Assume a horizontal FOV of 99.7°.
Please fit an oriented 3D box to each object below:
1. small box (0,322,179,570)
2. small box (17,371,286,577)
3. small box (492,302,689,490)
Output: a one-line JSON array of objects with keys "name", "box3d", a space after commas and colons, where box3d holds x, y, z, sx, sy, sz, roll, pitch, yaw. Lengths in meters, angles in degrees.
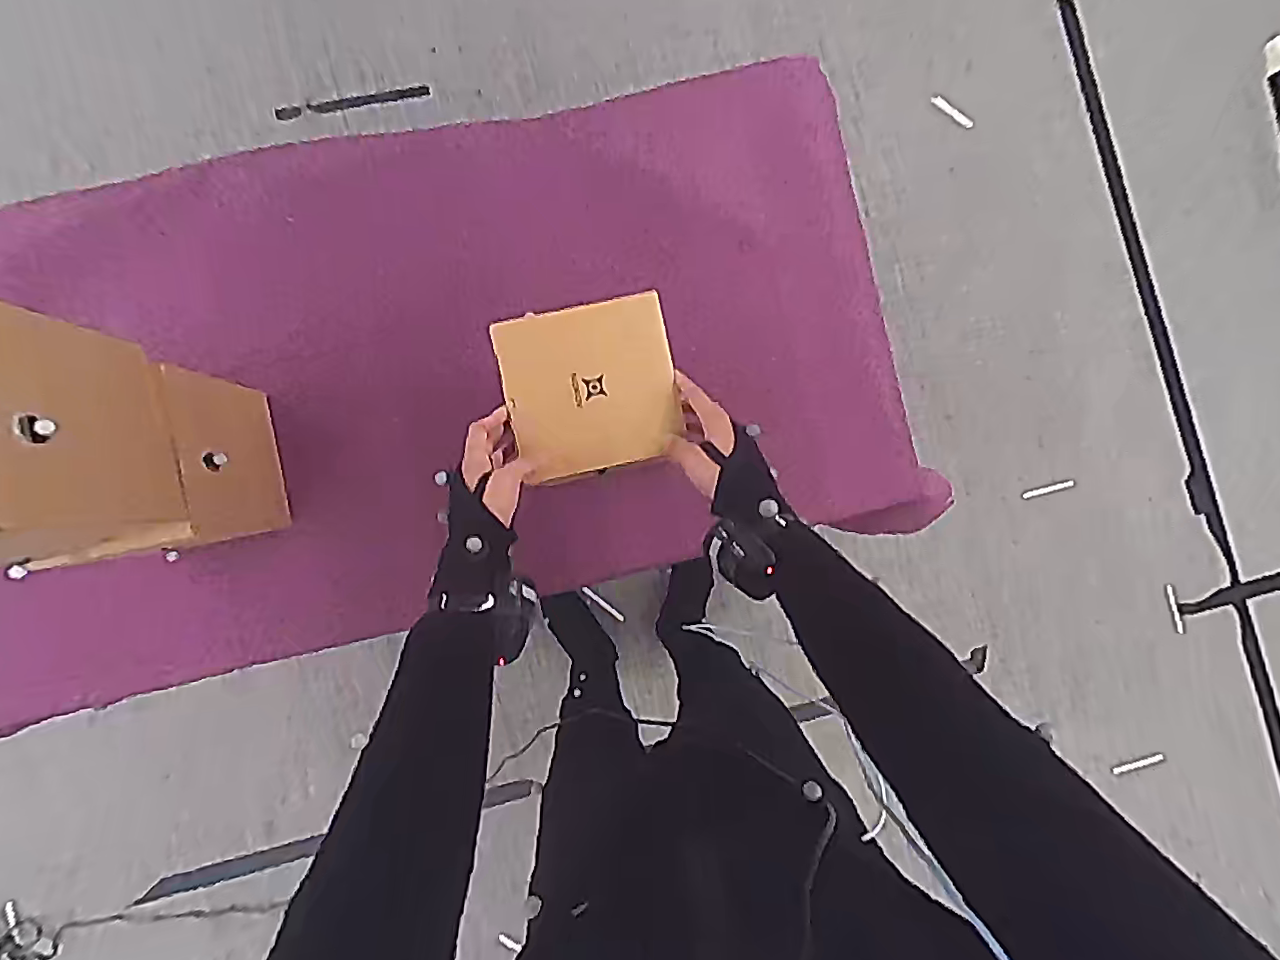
[{"name": "small box", "box3d": [-0.526, -0.021, 0.432, 0.168, 0.176, 0.179, -16, 89, -4]}, {"name": "small box", "box3d": [-0.529, -0.005, 0.596, 0.168, 0.176, 0.179, -11, 89, -4]}, {"name": "small box", "box3d": [-0.052, -0.087, 0.626, 0.179, 0.176, 0.168, -12, 90, -1]}]
